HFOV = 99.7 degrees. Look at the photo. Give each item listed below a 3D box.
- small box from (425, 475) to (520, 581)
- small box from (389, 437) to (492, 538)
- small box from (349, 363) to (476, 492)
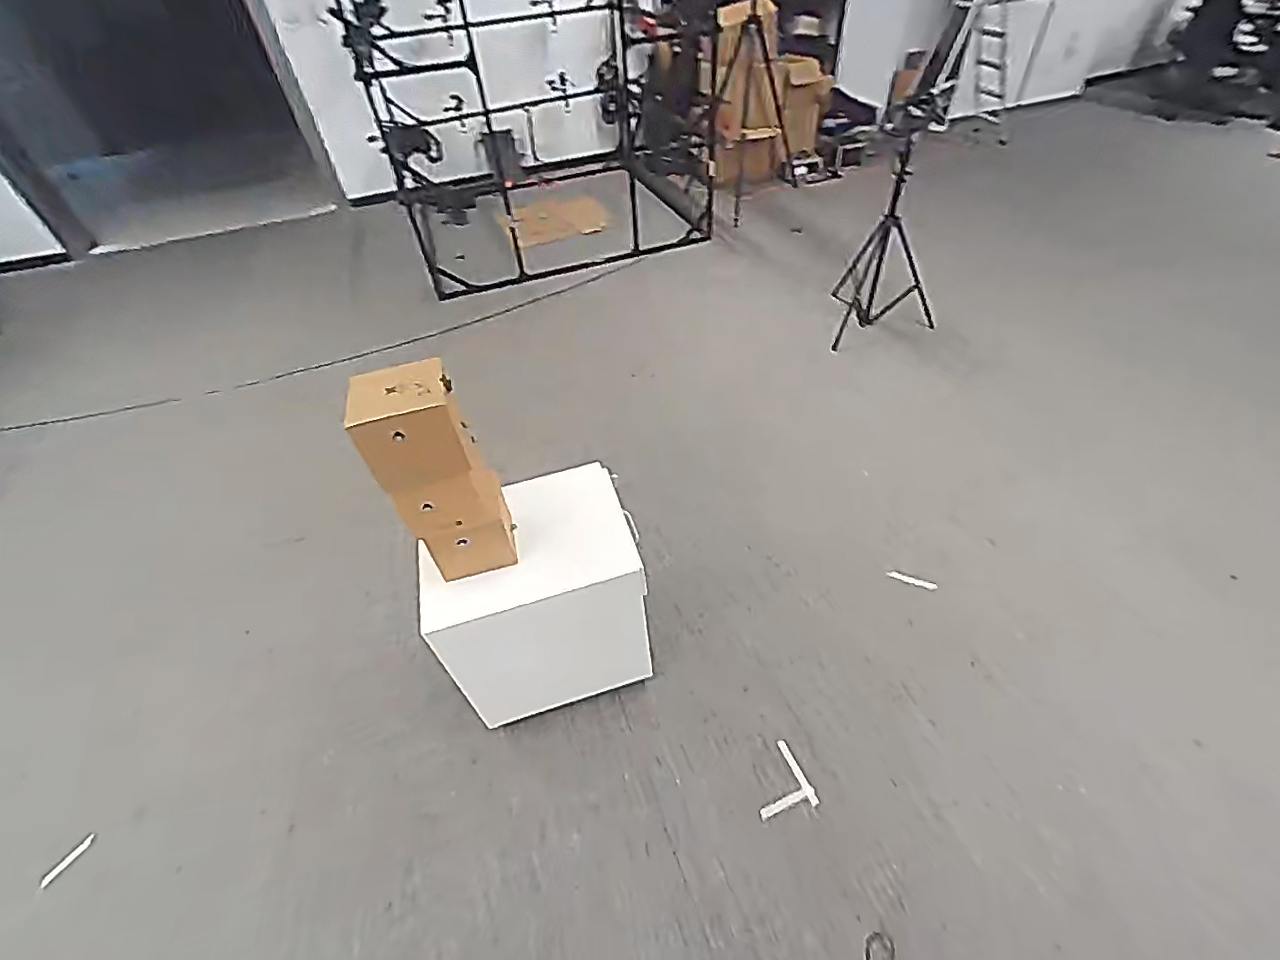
[{"bbox_3d":[-0.398,0.119,1.293,0.179,0.176,0.168,-13,45,-9],"label":"small box"},{"bbox_3d":[-0.425,0.008,1.176,0.168,0.176,0.179,-12,45,-7],"label":"small box"},{"bbox_3d":[-0.433,-0.099,1.050,0.179,0.176,0.168,-14,46,-9],"label":"small box"}]
